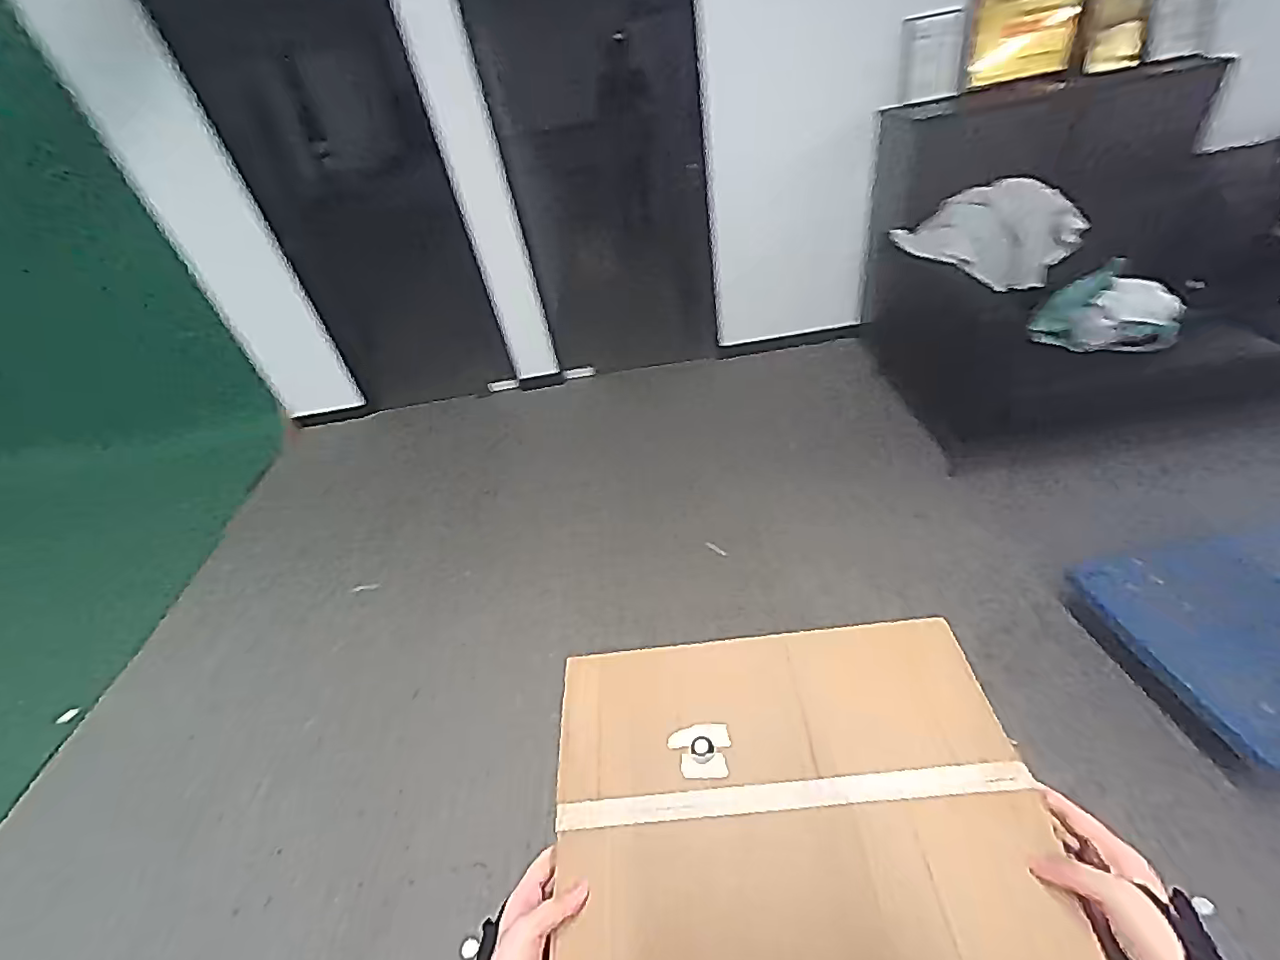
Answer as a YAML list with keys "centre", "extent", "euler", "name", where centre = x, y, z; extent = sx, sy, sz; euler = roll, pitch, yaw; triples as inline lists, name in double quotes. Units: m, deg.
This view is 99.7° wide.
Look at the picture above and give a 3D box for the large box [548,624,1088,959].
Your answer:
- centre: [0.141, 0.396, 0.583]
  extent: [0.408, 0.320, 0.320]
  euler: [-10, 43, 4]
  name: "large box"
